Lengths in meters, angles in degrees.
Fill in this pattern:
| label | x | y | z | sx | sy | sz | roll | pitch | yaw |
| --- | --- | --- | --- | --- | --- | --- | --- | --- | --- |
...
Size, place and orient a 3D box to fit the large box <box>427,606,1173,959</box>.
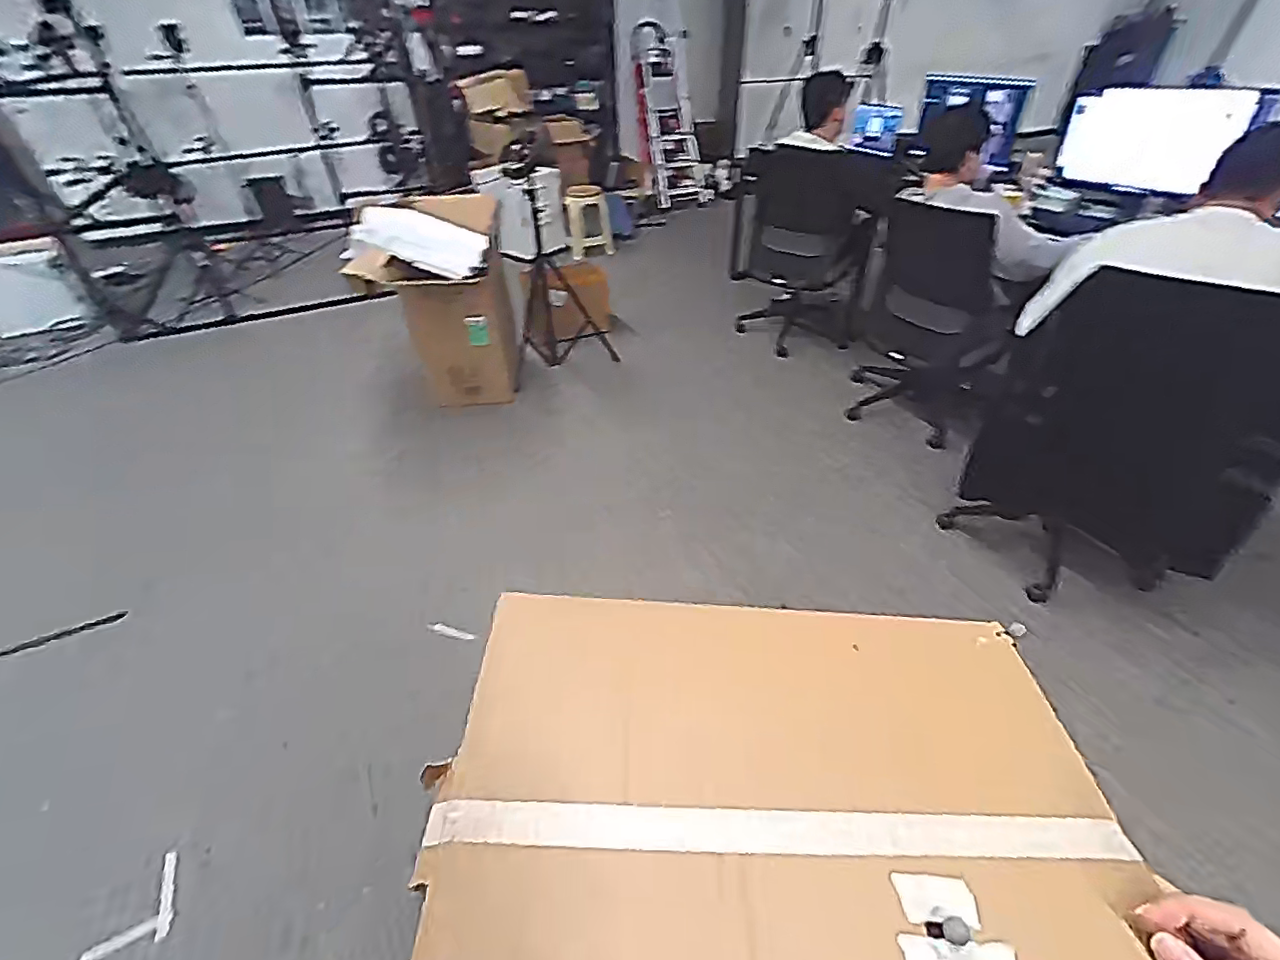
| label | x | y | z | sx | sy | sz | roll | pitch | yaw |
| --- | --- | --- | --- | --- | --- | --- | --- | --- | --- |
| large box | 0.072 | 0.322 | 0.418 | 0.408 | 0.320 | 0.320 | 4 | 41 | -5 |
